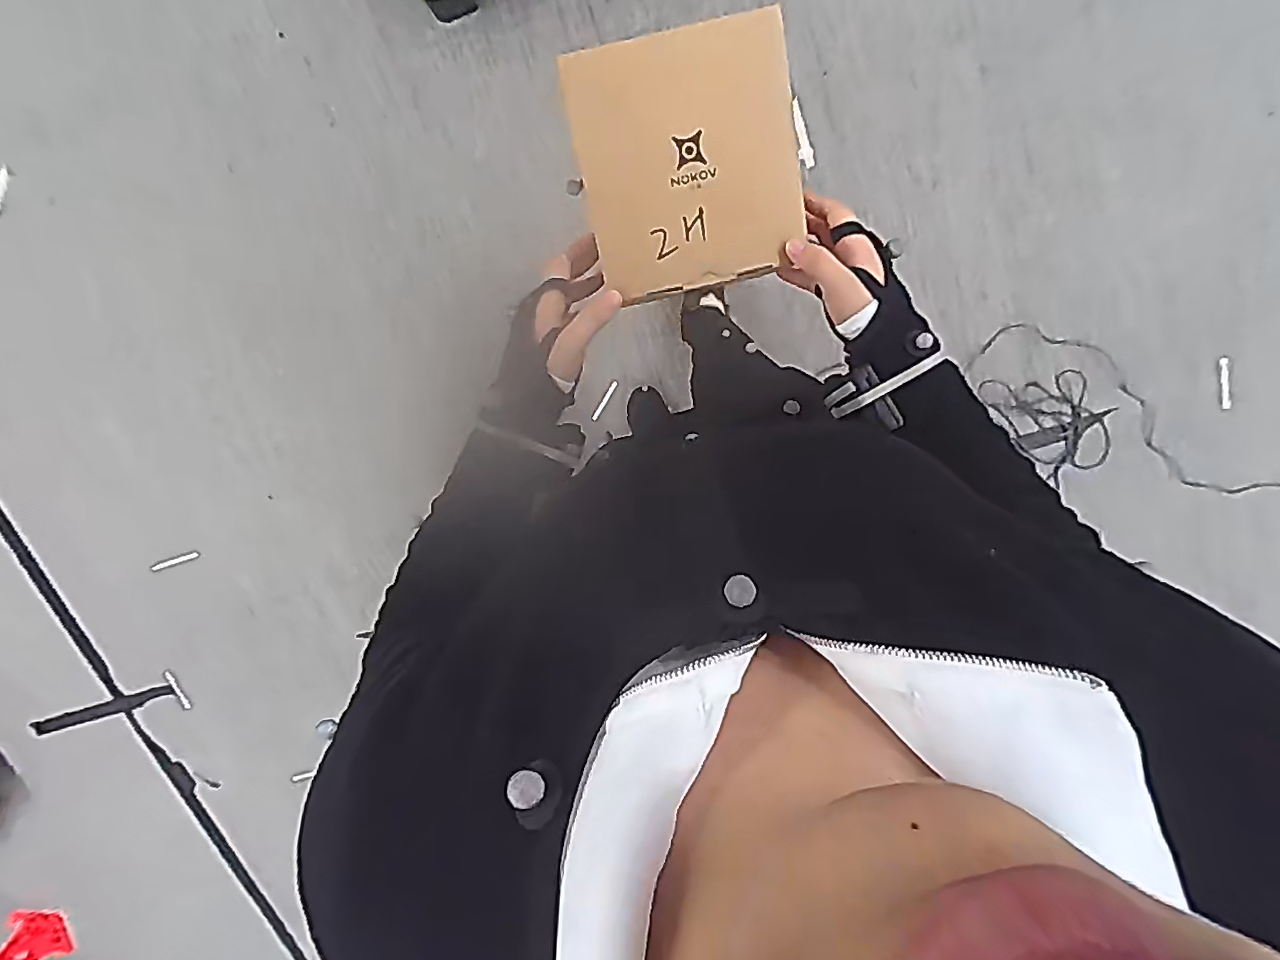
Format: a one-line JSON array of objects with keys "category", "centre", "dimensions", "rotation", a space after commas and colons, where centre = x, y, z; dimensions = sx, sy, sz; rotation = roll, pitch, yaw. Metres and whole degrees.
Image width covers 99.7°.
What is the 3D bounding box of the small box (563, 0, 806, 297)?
[{"category": "small box", "centre": [0.034, -0.275, 0.489], "dimensions": [0.168, 0.176, 0.179], "rotation": [-12, 106, 2]}]
